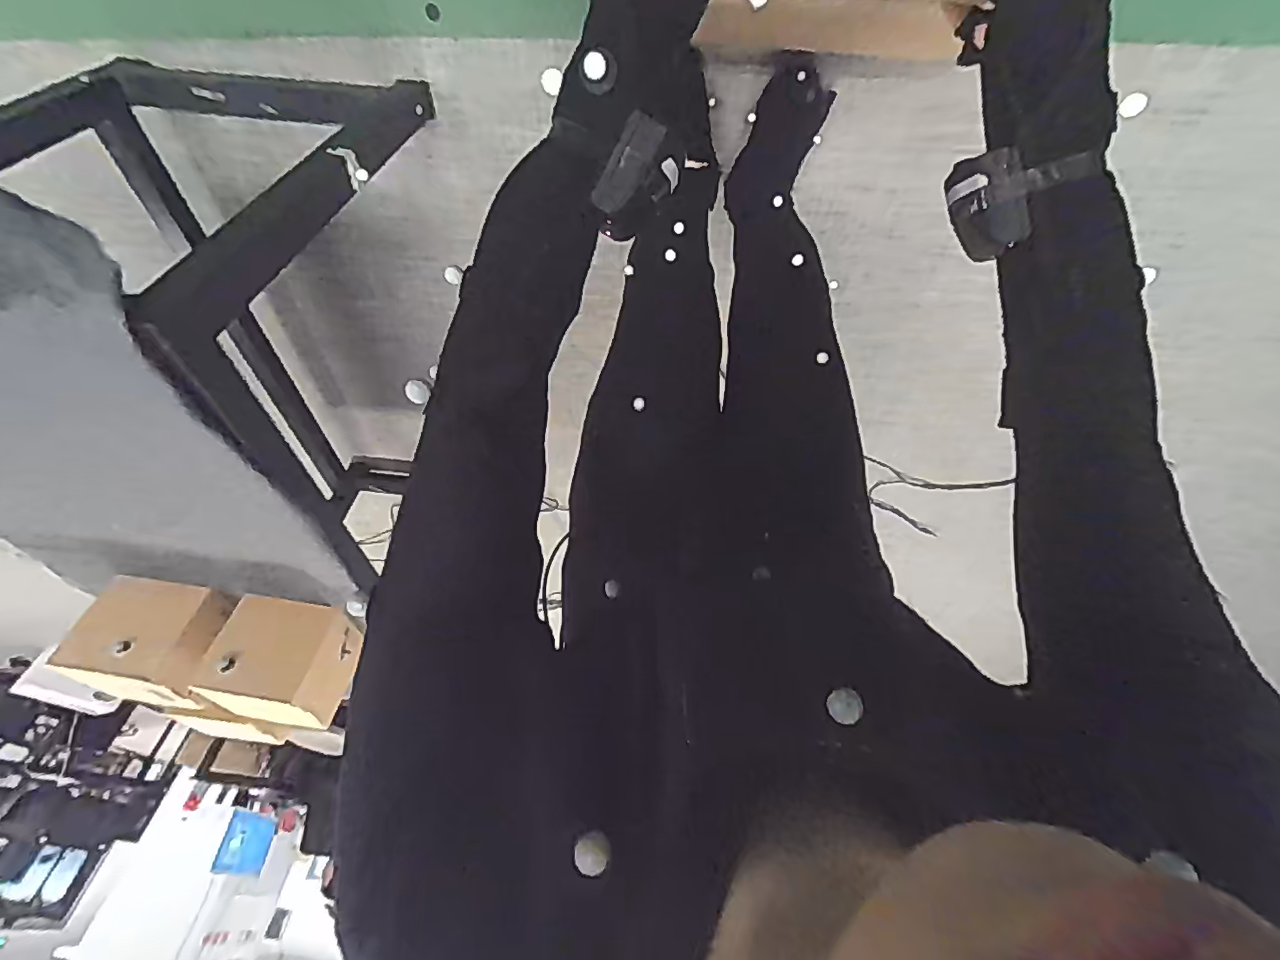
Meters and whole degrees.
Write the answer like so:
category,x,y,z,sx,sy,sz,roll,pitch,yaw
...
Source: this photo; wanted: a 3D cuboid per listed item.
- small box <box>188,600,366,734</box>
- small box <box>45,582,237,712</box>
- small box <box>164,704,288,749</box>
category,x,y,z,sx,sy,sz,roll,pitch,yaw
small box,-0.630,0.331,0.965,0.179,0.176,0.168,9,141,1
small box,-0.856,0.297,0.966,0.179,0.176,0.168,8,141,0
small box,-0.852,0.464,1.174,0.179,0.176,0.168,7,141,1
